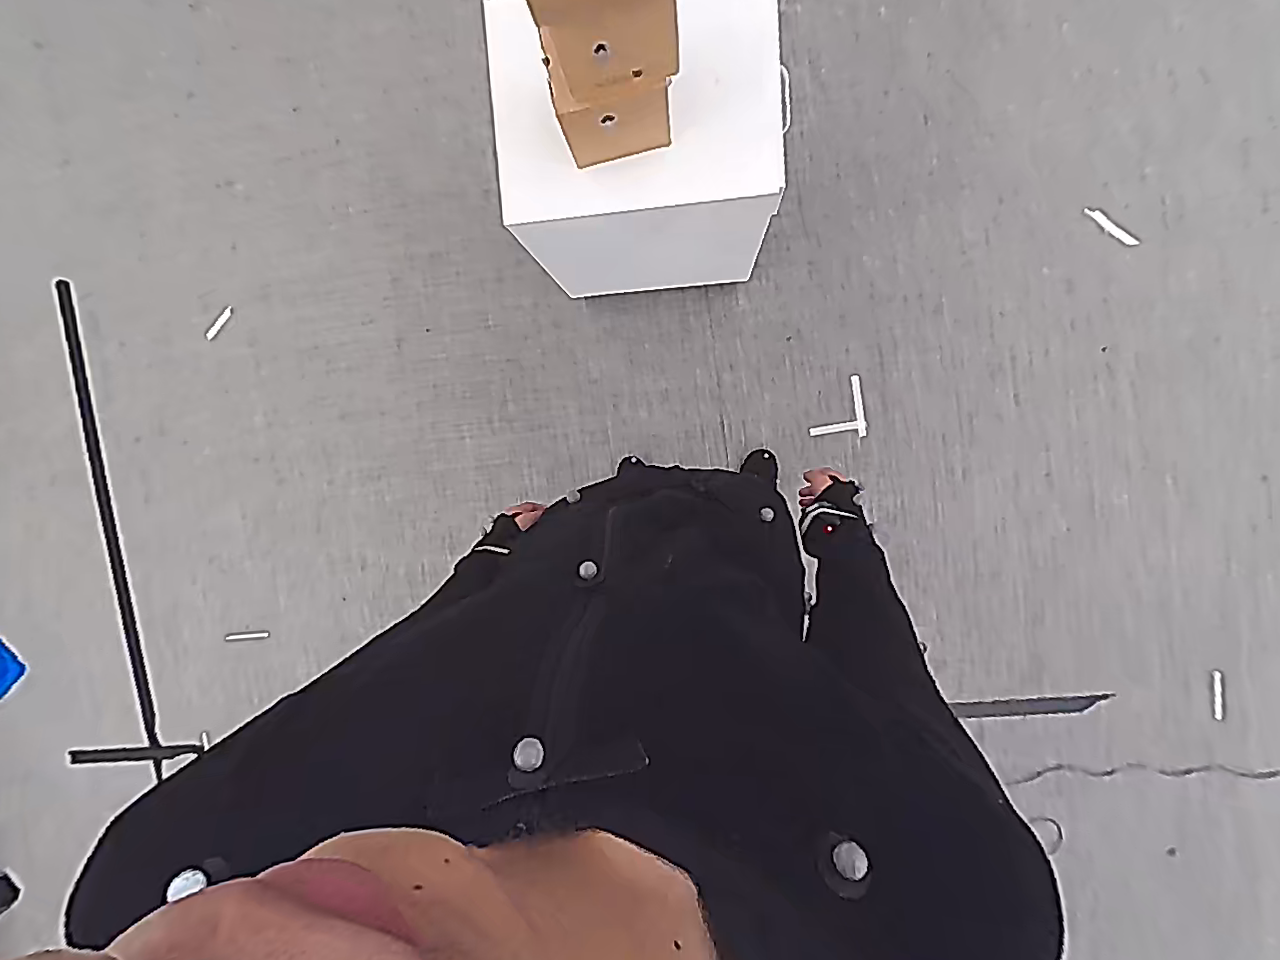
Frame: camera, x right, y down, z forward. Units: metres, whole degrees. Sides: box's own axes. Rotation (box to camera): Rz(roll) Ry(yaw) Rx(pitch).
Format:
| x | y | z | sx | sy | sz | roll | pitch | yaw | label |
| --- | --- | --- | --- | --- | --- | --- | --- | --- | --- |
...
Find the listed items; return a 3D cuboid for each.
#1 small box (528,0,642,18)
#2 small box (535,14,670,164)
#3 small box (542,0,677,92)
| x | y | z | sx | sy | sz | roll | pitch | yaw | label |
| --- | --- | --- | --- | --- | --- | --- | --- | --- | --- |
| -0.062 | -0.635 | 0.561 | 0.179 | 0.176 | 0.168 | -7 | 94 | 6 | small box |
| -0.052 | -0.655 | 0.888 | 0.179 | 0.176 | 0.168 | -11 | 94 | 6 | small box |
| -0.045 | -0.662 | 0.724 | 0.168 | 0.176 | 0.179 | -10 | 93 | 6 | small box |
